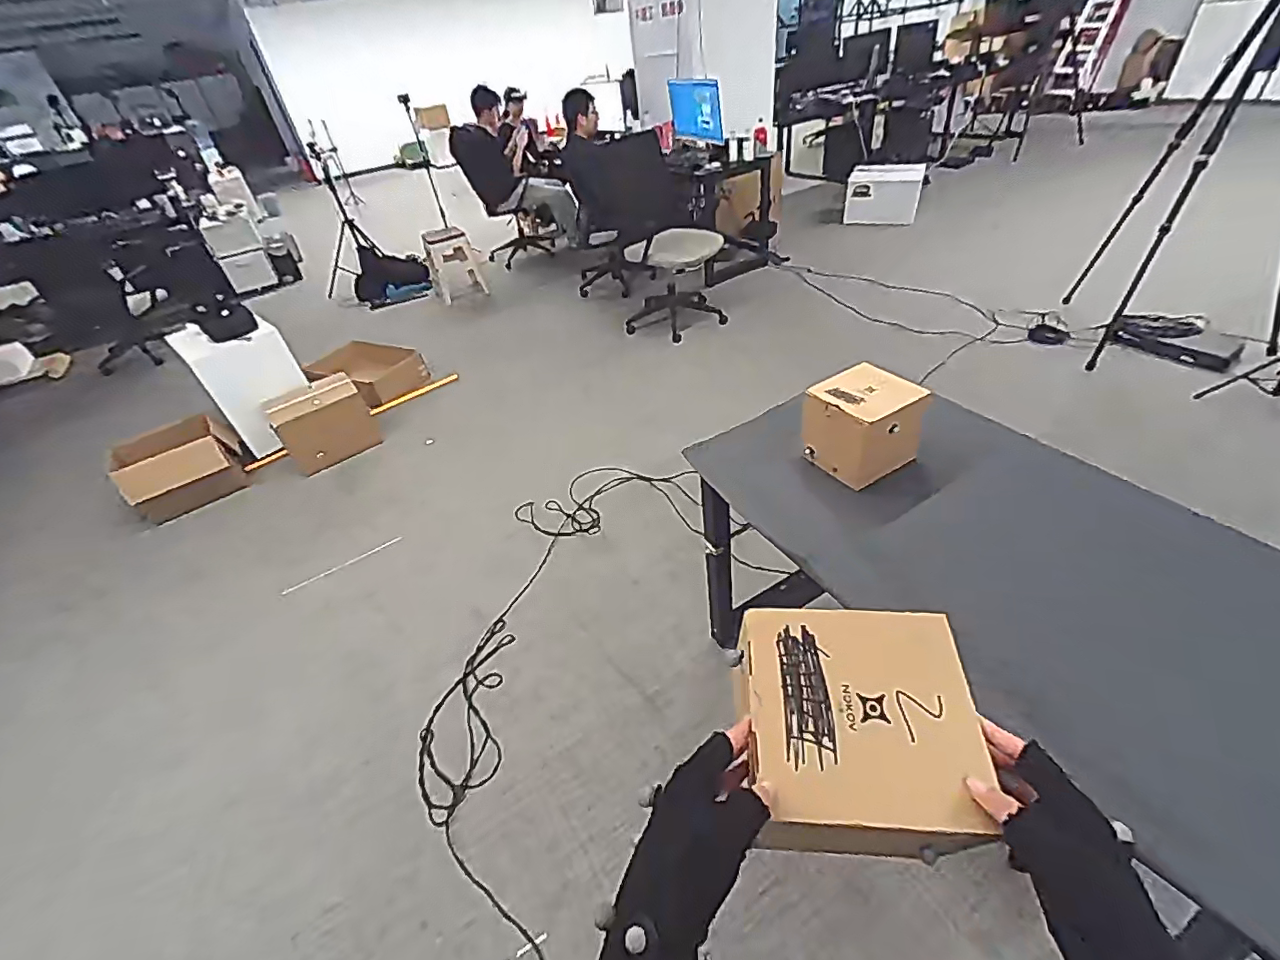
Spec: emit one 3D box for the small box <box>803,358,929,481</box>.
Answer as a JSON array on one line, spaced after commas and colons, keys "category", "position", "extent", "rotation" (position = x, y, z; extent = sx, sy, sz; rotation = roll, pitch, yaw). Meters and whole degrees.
[{"category": "small box", "position": [0.460, -0.124, 1.128], "extent": [0.179, 0.176, 0.168], "rotation": [-25, 43, -20]}]
